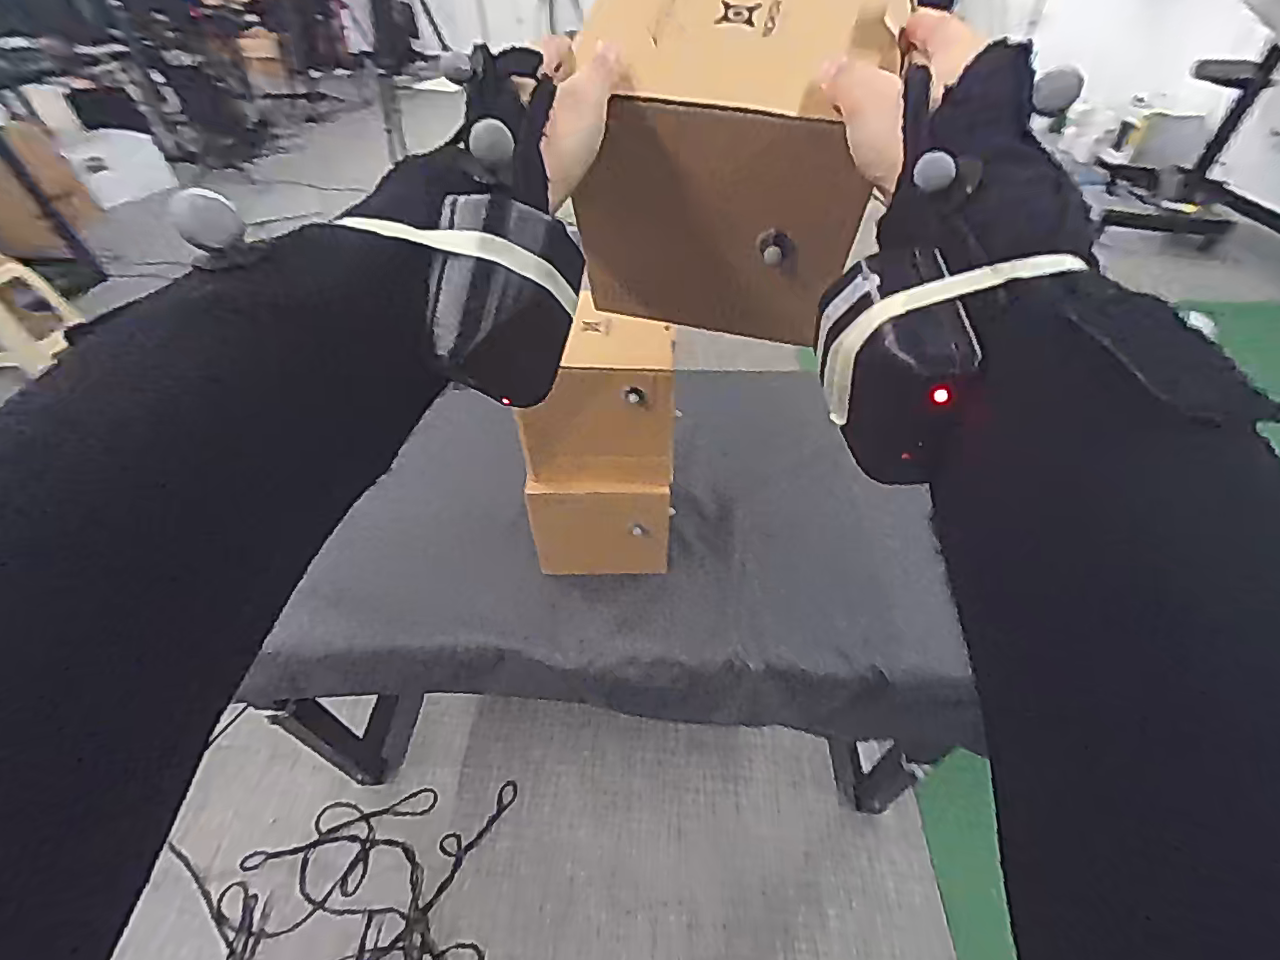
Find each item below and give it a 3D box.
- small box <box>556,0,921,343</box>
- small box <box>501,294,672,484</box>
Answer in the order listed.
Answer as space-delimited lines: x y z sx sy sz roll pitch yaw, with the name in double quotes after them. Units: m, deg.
0.066 -0.215 0.366 0.179 0.176 0.168 11 66 10 "small box"
-0.051 -0.109 0.654 0.179 0.176 0.168 1 45 1 "small box"
